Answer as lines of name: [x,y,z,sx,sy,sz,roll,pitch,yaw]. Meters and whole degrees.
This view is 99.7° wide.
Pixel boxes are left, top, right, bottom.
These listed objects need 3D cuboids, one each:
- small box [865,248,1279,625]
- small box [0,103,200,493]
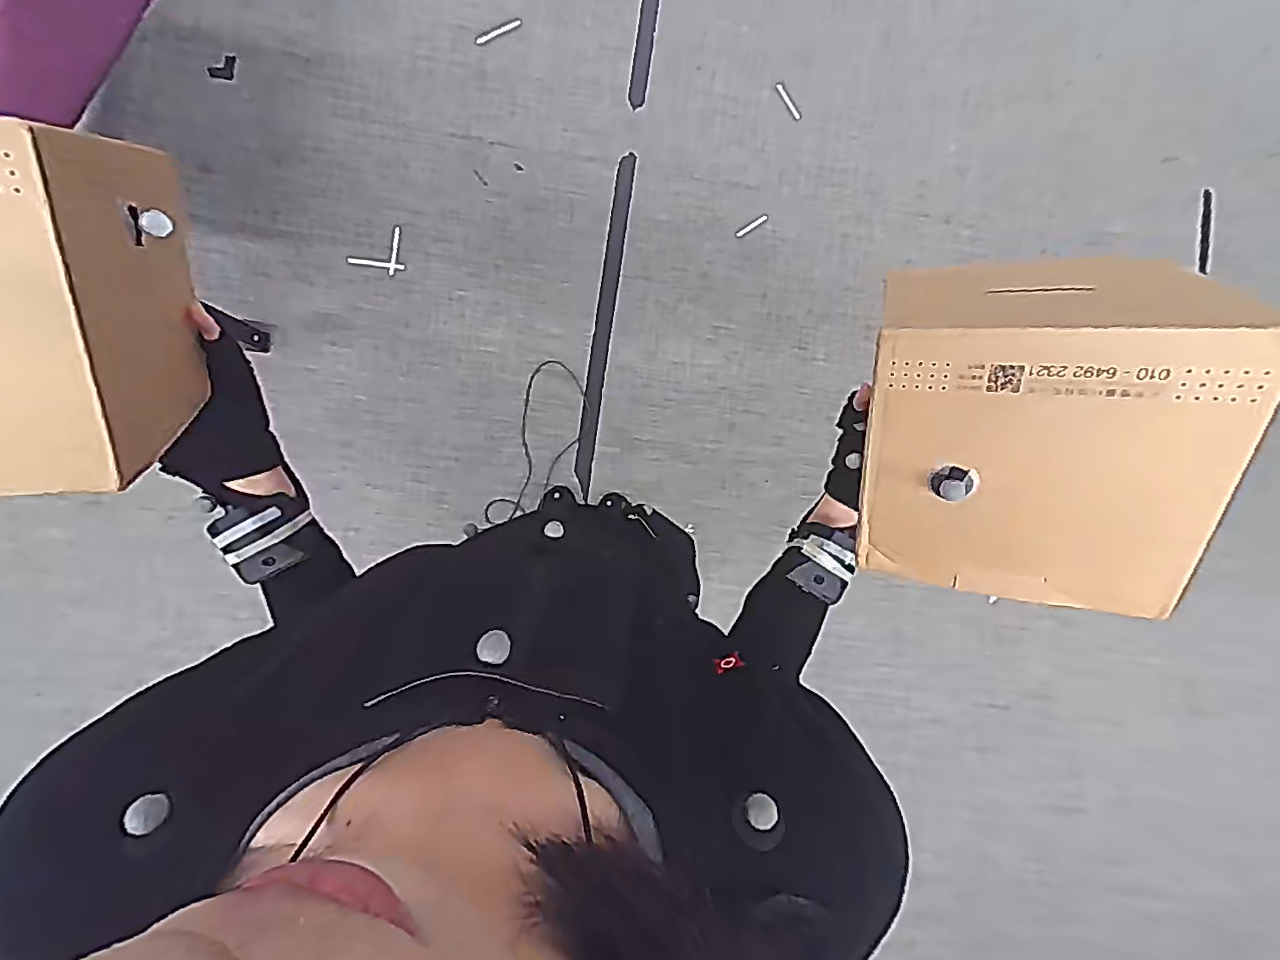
small box: [0.243,-0.042,0.346,0.168,0.179,0.176,8,122,23]
small box: [-0.357,-0.101,0.270,0.168,0.179,0.176,-2,115,-25]
